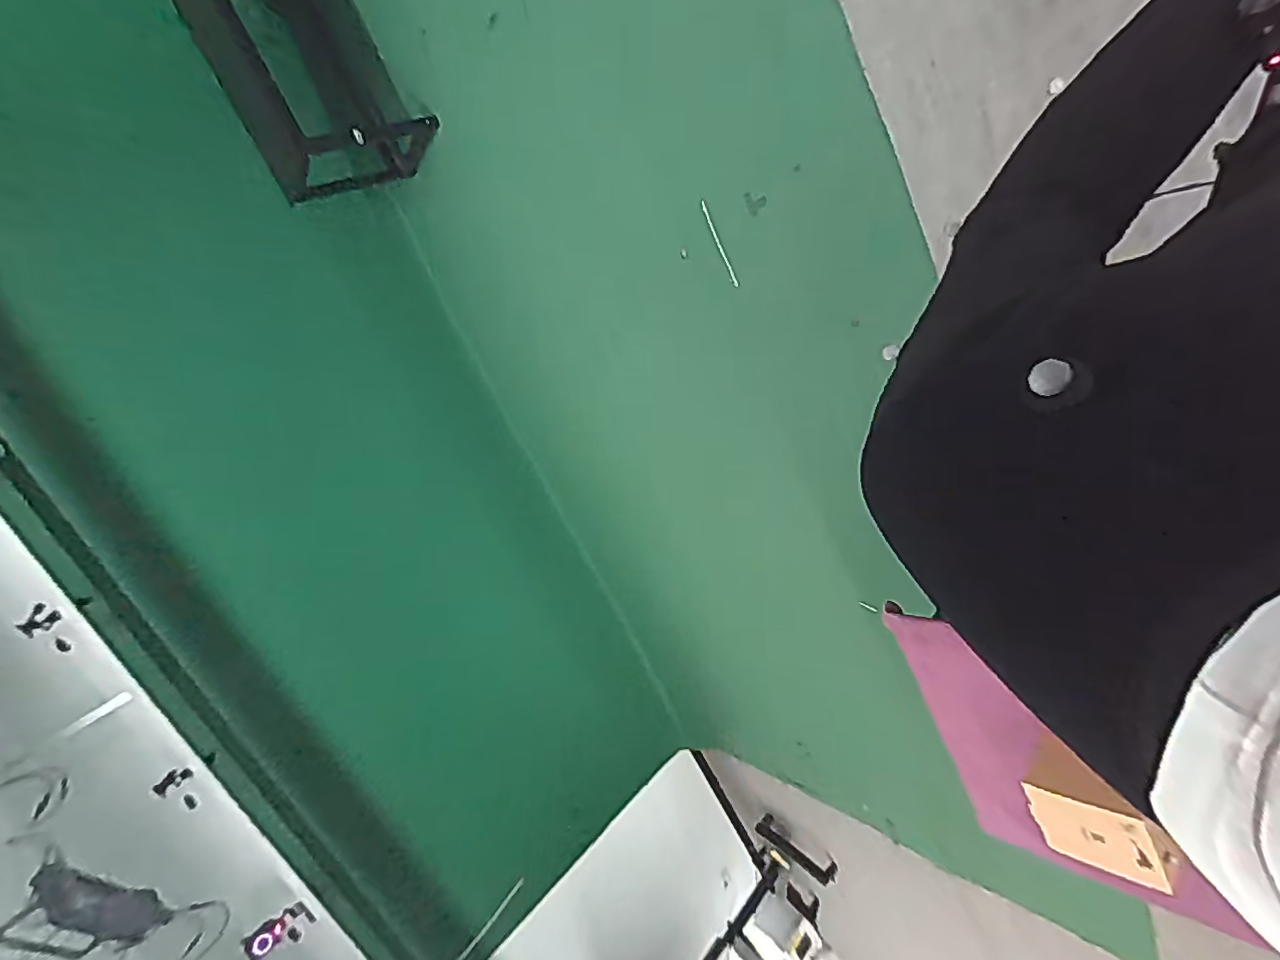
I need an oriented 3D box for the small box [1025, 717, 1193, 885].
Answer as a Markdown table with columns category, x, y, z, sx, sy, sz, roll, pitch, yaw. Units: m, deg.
| category | x | y | z | sx | sy | sz | roll | pitch | yaw |
| --- | --- | --- | --- | --- | --- | --- | --- | --- | --- |
| small box | 0.849 | 0.564 | 0.981 | 0.179 | 0.176 | 0.168 | -10 | 111 | 58 |
